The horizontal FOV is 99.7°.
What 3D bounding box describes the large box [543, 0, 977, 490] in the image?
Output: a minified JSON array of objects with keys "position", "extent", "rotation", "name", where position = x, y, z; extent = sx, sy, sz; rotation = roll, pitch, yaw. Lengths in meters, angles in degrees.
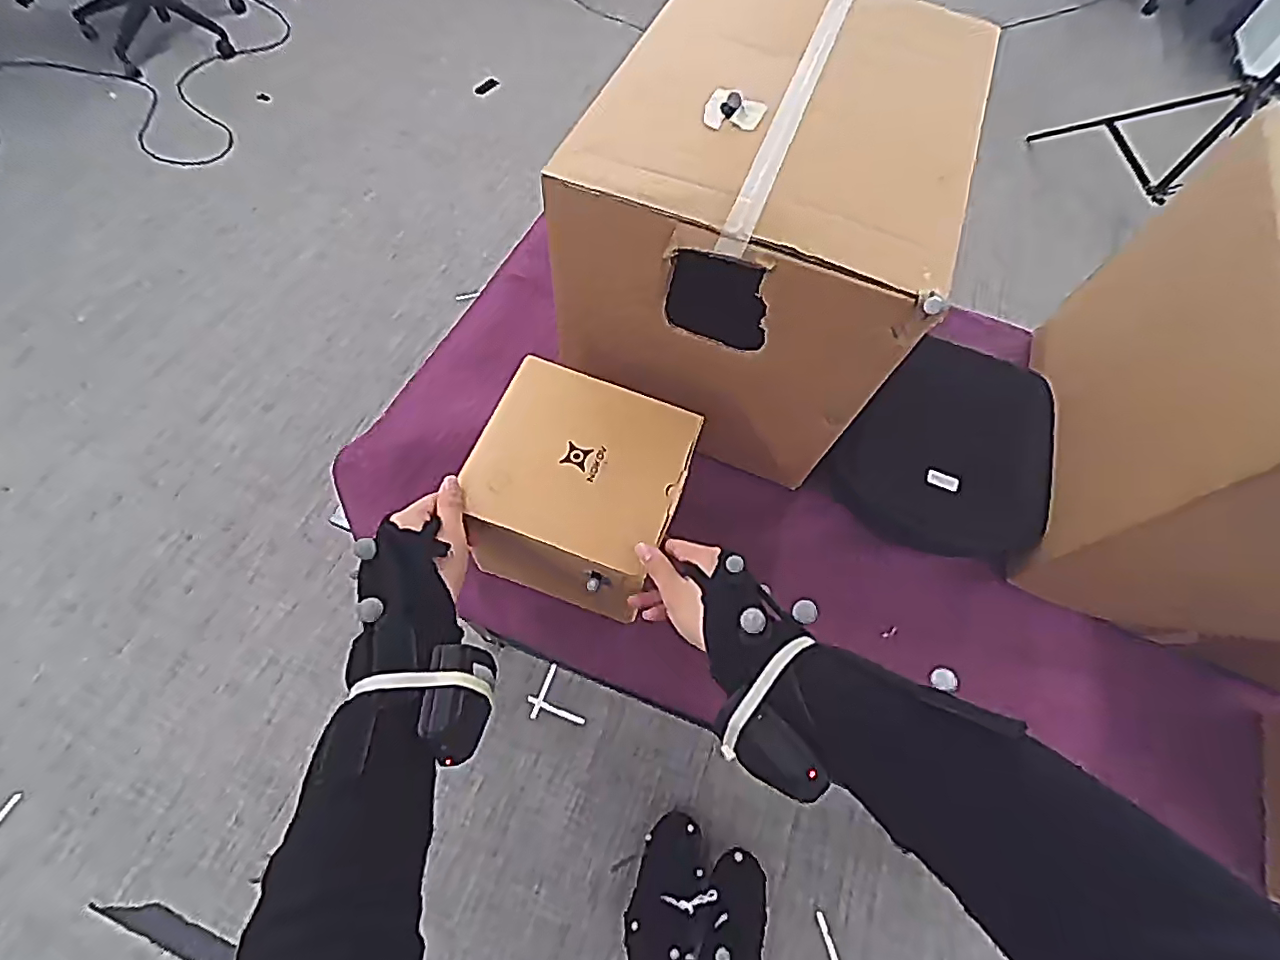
[{"position":[0.123,-0.262,0.618],"extent":[0.320,0.320,0.408],"rotation":[20,67,6],"name":"large box"}]
